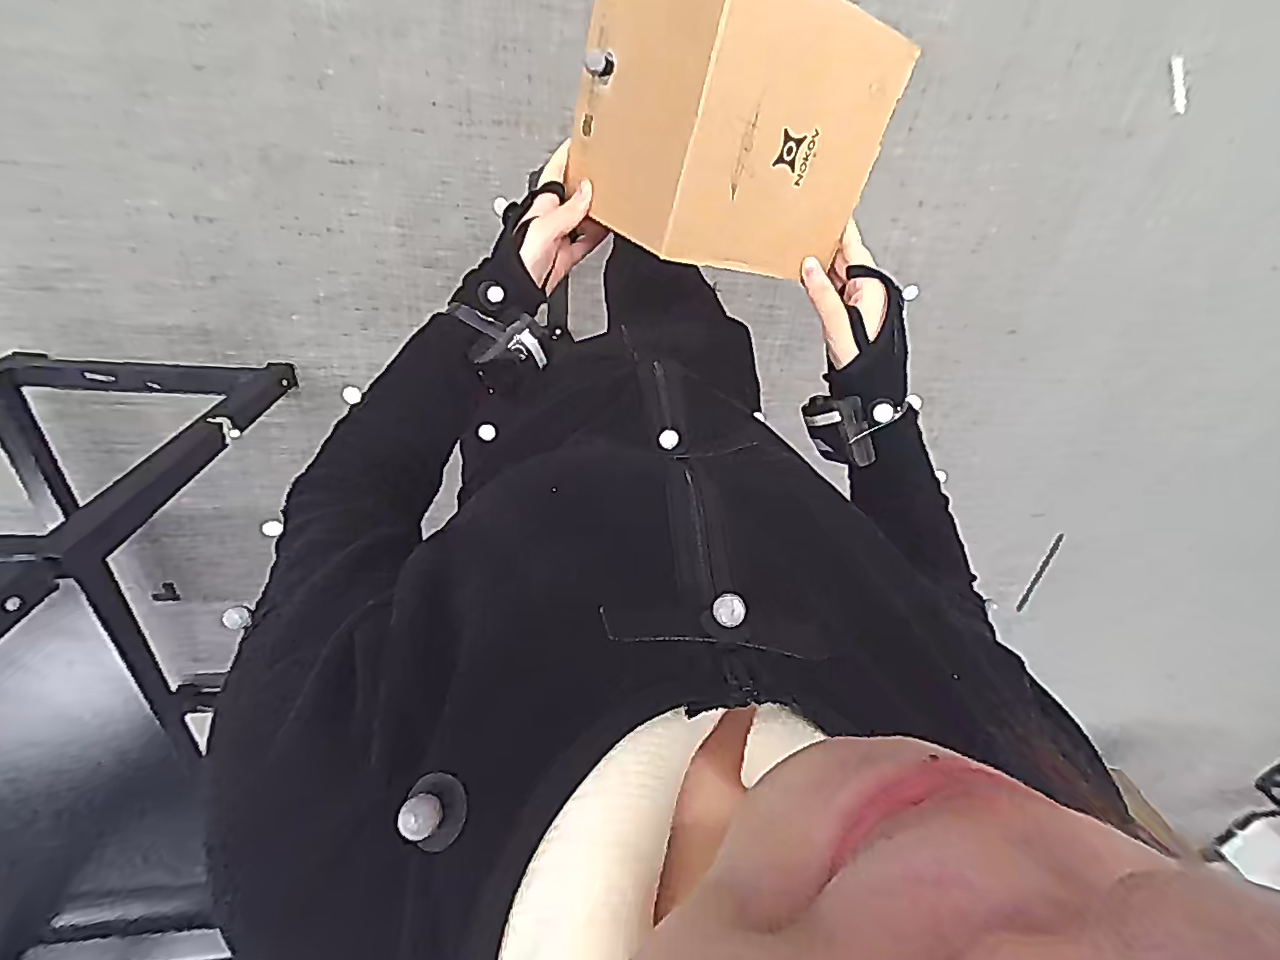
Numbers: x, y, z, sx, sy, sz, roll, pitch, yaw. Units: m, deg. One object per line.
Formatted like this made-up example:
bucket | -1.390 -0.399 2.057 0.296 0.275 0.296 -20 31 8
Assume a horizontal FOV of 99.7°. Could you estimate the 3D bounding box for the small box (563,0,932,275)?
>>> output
small box | 0.065 -0.272 0.407 0.179 0.176 0.168 -7 128 -34
